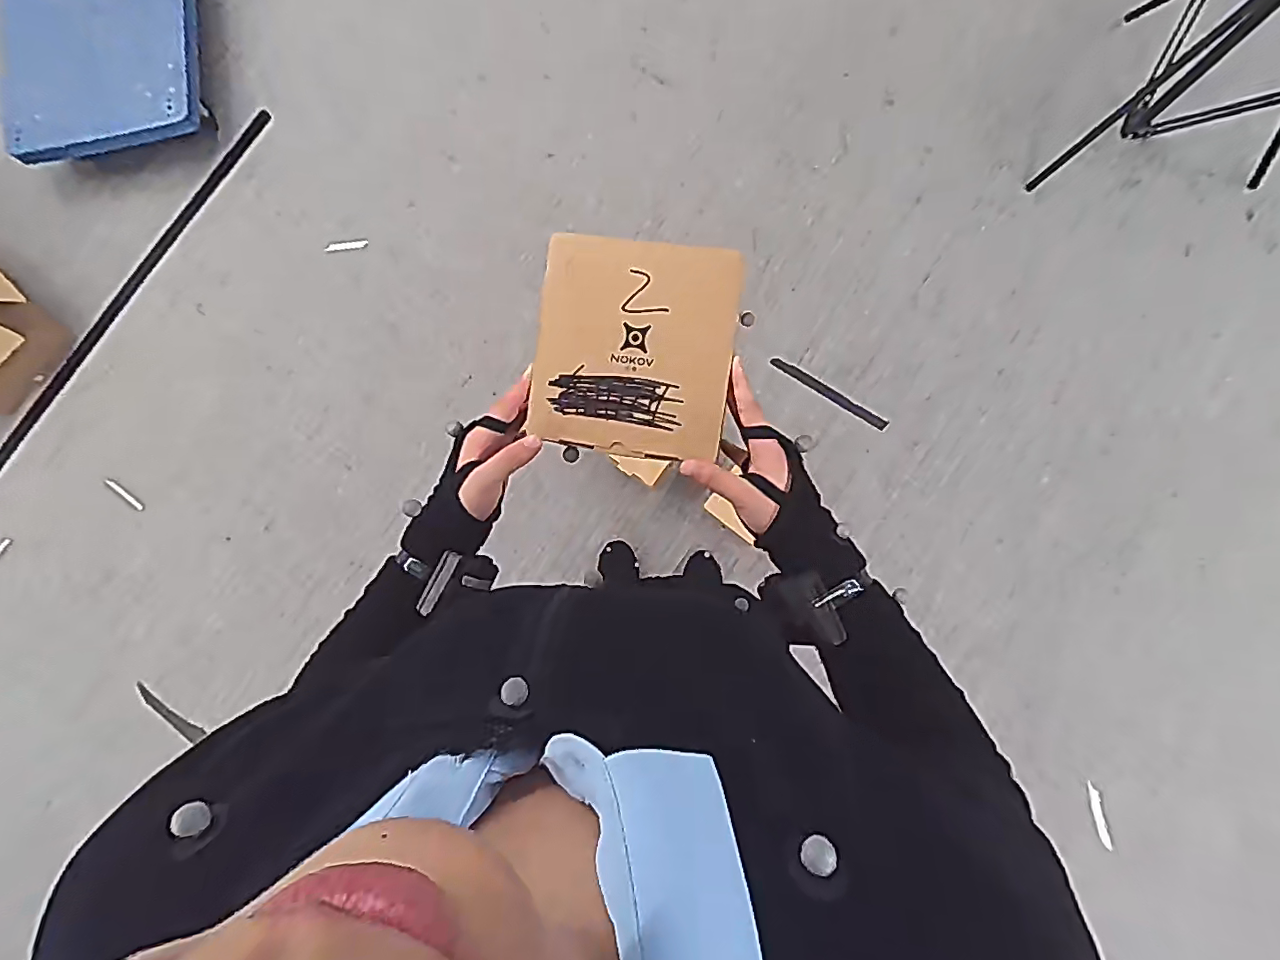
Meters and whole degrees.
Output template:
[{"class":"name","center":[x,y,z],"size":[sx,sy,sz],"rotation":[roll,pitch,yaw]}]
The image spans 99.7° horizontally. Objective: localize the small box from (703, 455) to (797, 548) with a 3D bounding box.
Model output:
[{"class":"small box","center":[0.279,0.062,1.415],"size":[0.168,0.176,0.179],"rotation":[38,87,7]}]

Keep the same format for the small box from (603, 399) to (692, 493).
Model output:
[{"class":"small box","center":[0.022,-0.084,1.455],"size":[0.168,0.176,0.179],"rotation":[35,87,8]}]
